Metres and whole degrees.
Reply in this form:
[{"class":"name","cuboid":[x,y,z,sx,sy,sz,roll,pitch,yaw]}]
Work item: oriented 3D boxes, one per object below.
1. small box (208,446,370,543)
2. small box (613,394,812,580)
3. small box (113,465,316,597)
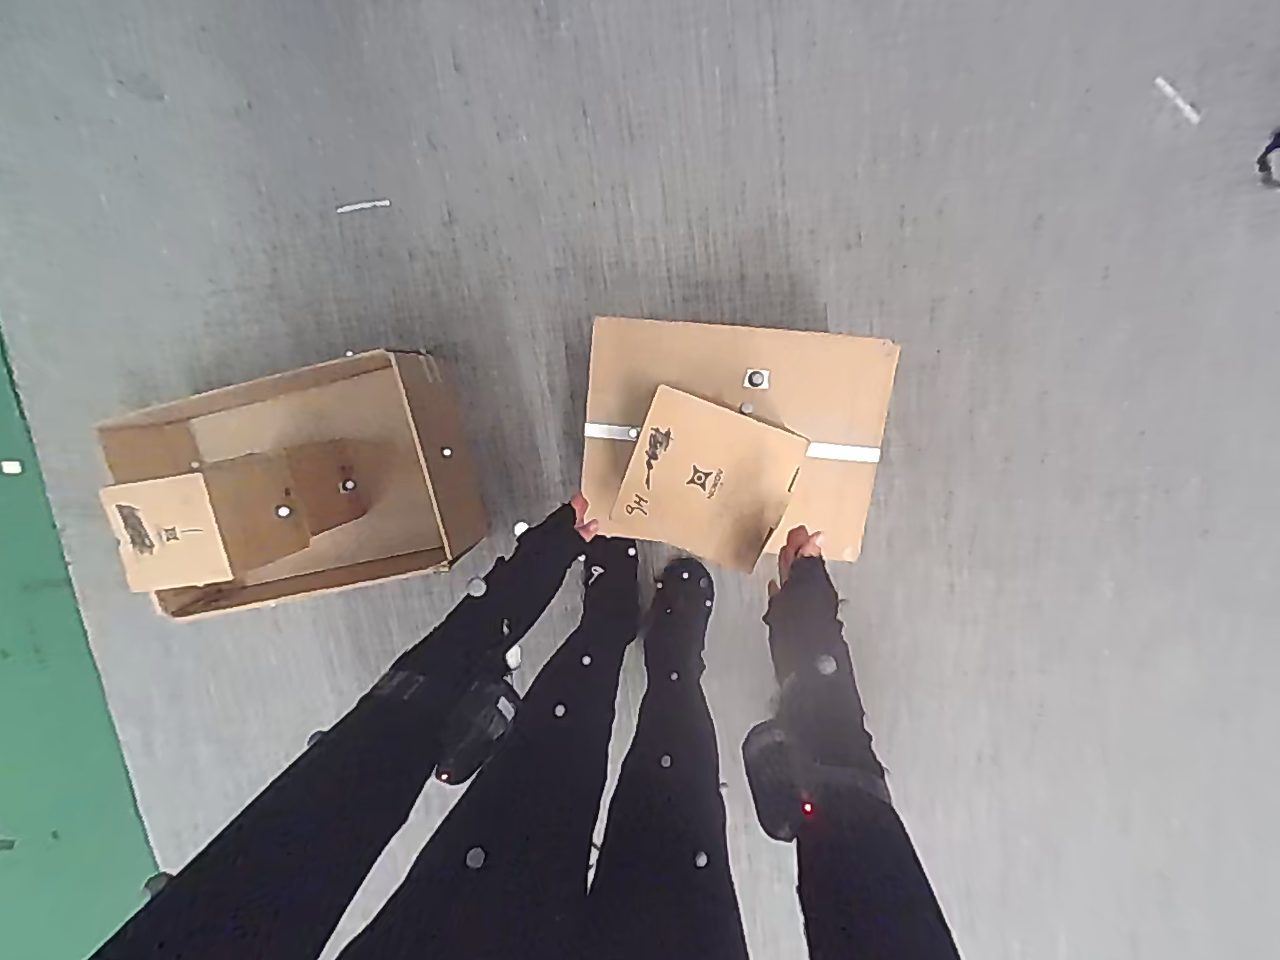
[{"class":"small box","cuboid":[-0.660,0.035,1.036,0.179,0.176,0.168,-11,99,7]},{"class":"small box","cuboid":[0.085,-0.005,0.675,0.179,0.176,0.168,21,102,1]},{"class":"small box","cuboid":[-0.674,0.076,0.877,0.179,0.176,0.168,-8,99,6]}]
